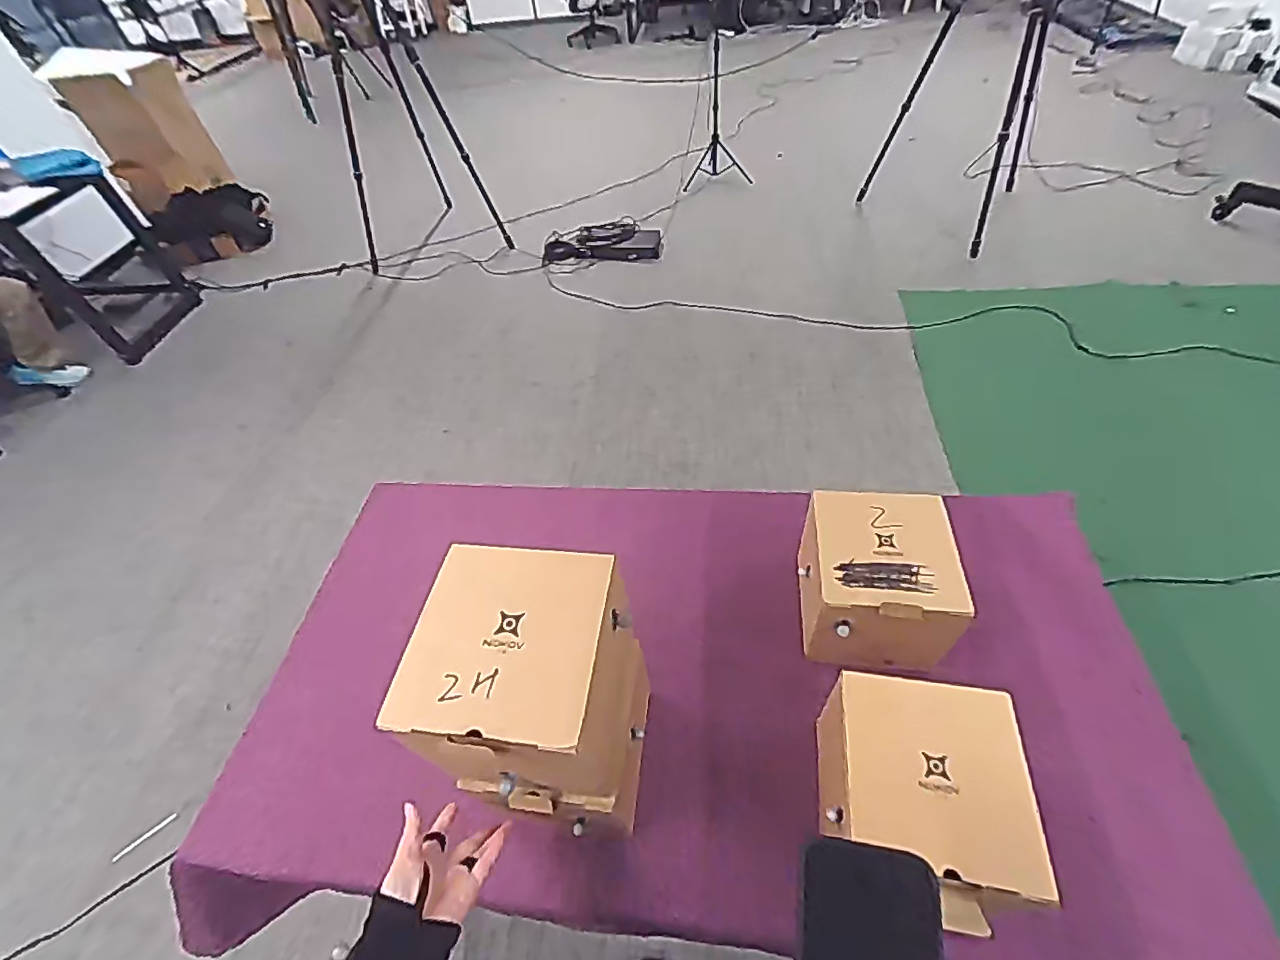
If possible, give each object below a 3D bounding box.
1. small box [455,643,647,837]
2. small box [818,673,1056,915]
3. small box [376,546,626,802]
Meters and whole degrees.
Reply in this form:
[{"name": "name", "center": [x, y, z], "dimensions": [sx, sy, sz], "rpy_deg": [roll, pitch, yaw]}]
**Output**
[{"name": "small box", "center": [-0.087, 0.303, 0.641], "dimensions": [0.168, 0.176, 0.179], "rpy_deg": [3, 49, 9]}, {"name": "small box", "center": [0.285, 0.330, 0.571], "dimensions": [0.168, 0.176, 0.179], "rpy_deg": [5, 51, 11]}, {"name": "small box", "center": [-0.111, 0.187, 0.526], "dimensions": [0.168, 0.176, 0.179], "rpy_deg": [3, 49, 10]}]
